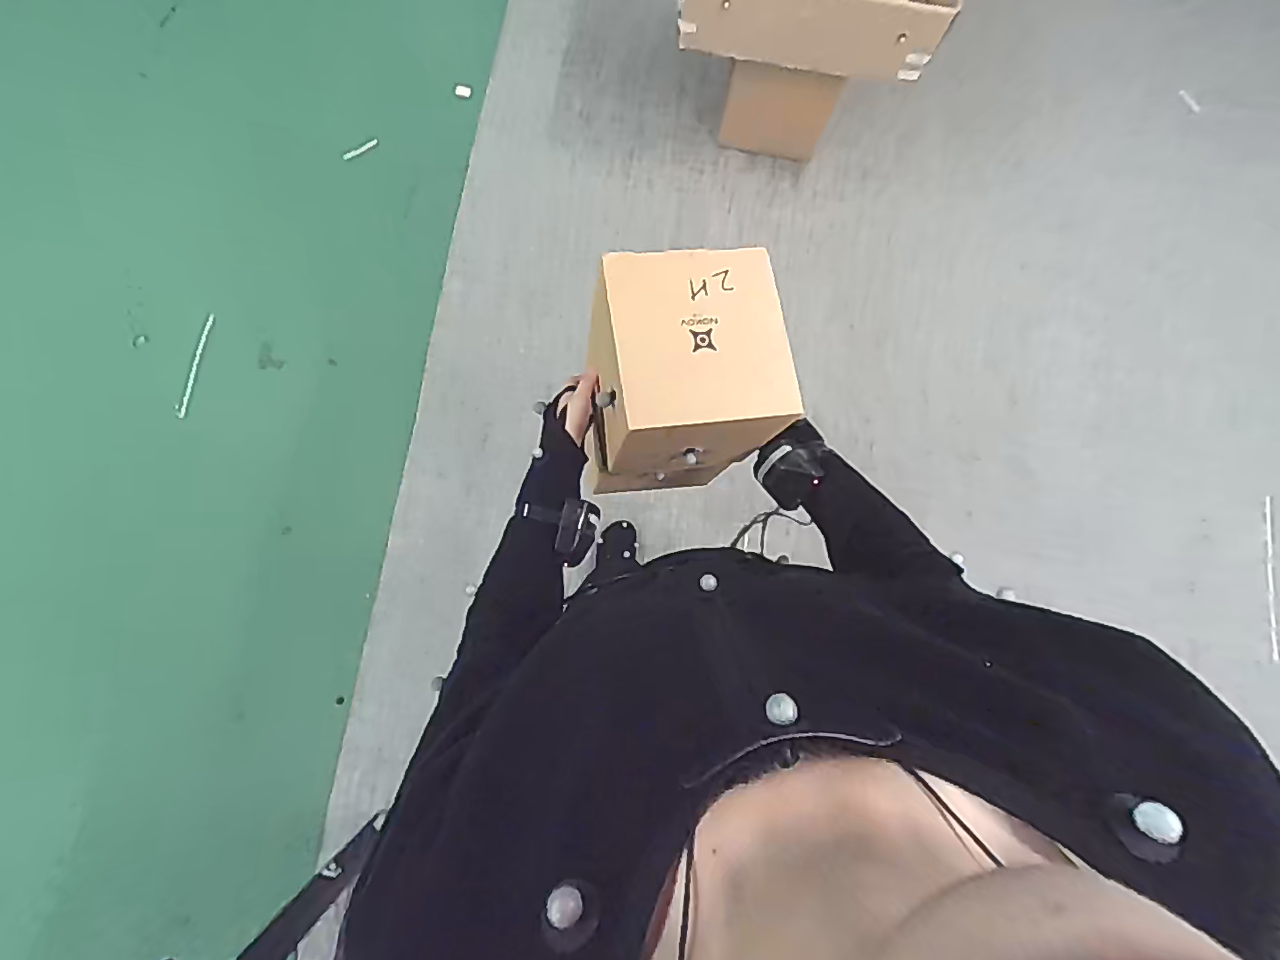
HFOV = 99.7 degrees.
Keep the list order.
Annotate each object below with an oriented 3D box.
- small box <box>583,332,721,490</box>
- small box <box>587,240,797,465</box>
[{"bbox_3d":[0.016,-0.087,0.718,0.179,0.176,0.168,-4,76,-11],"label":"small box"},{"bbox_3d":[0.038,-0.118,0.558,0.168,0.176,0.179,-5,76,-11],"label":"small box"}]
